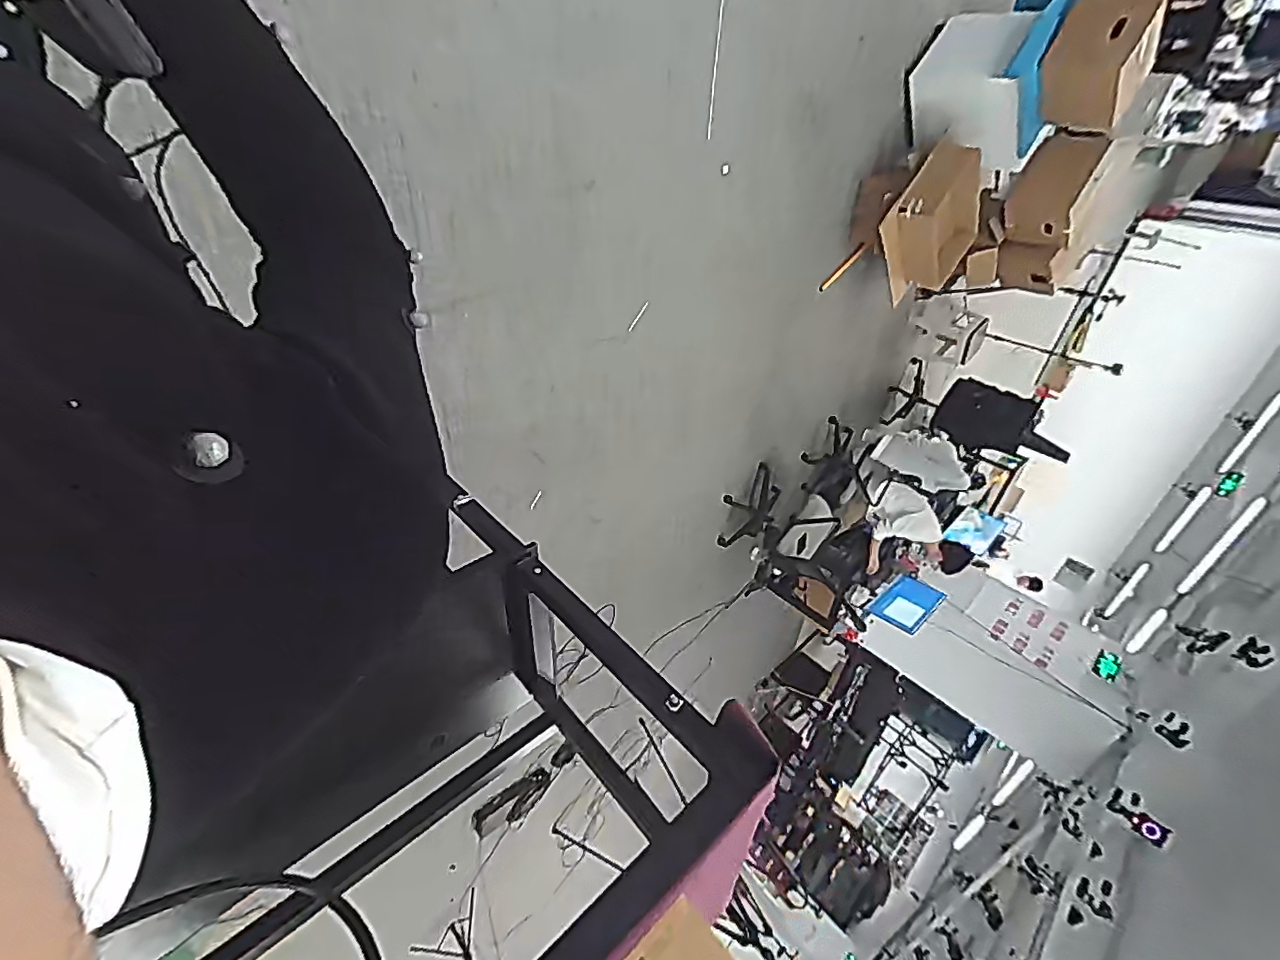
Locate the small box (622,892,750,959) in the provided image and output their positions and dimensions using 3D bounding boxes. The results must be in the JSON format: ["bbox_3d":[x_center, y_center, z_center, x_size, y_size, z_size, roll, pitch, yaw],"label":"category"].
[{"bbox_3d":[0.061,0.749,0.777,0.168,0.176,0.179,-24,135,-37],"label":"small box"}]
